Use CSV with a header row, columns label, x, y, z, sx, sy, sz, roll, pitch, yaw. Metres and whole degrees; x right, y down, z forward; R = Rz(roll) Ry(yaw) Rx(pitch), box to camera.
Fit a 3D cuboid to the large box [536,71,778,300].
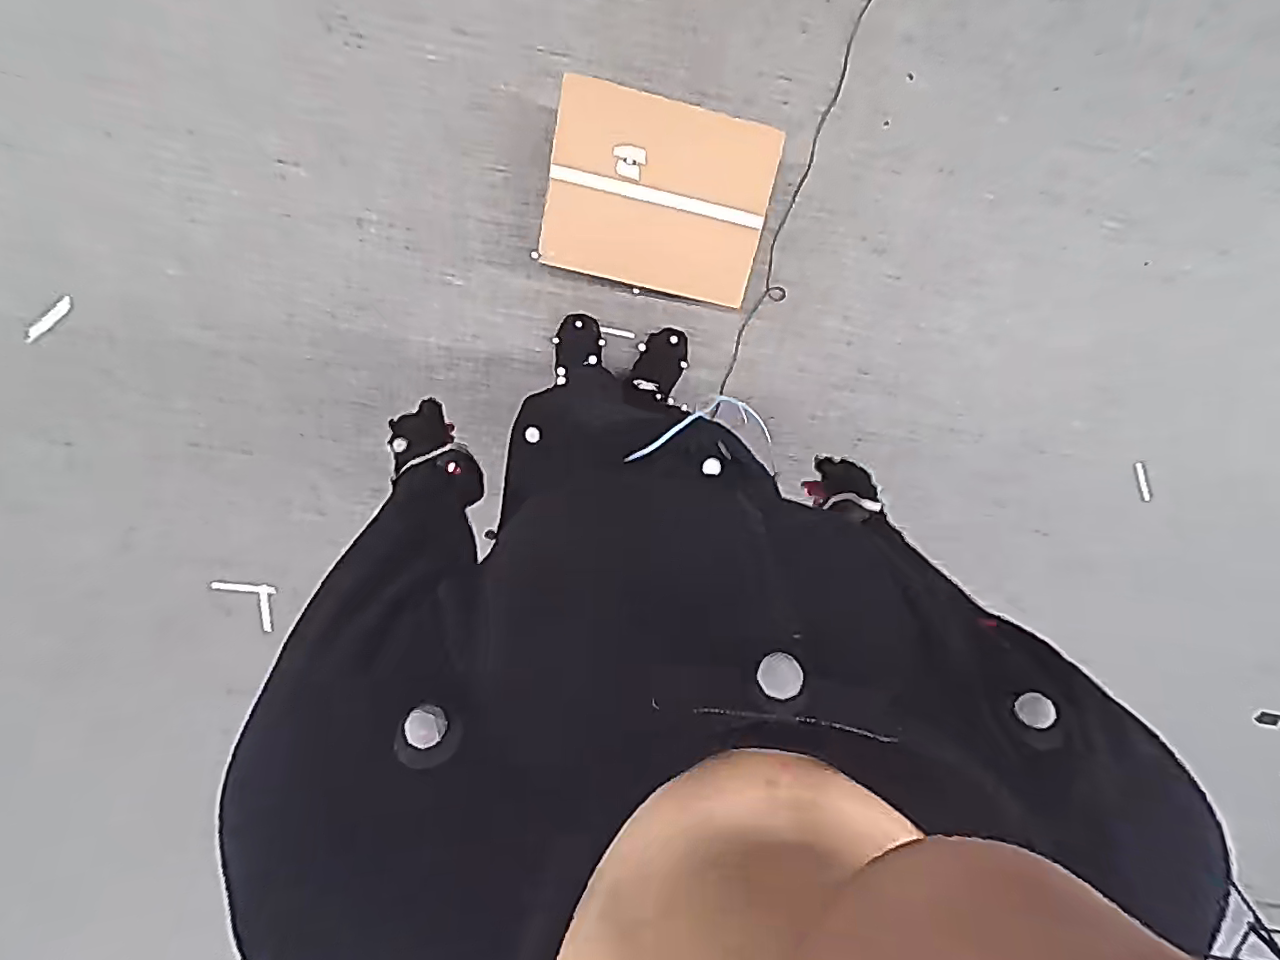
label,x,y,z,sx,sy,sz,roll,pitch,yaw
large box,0.022,-0.584,1.137,0.408,0.320,0.320,11,109,-7
